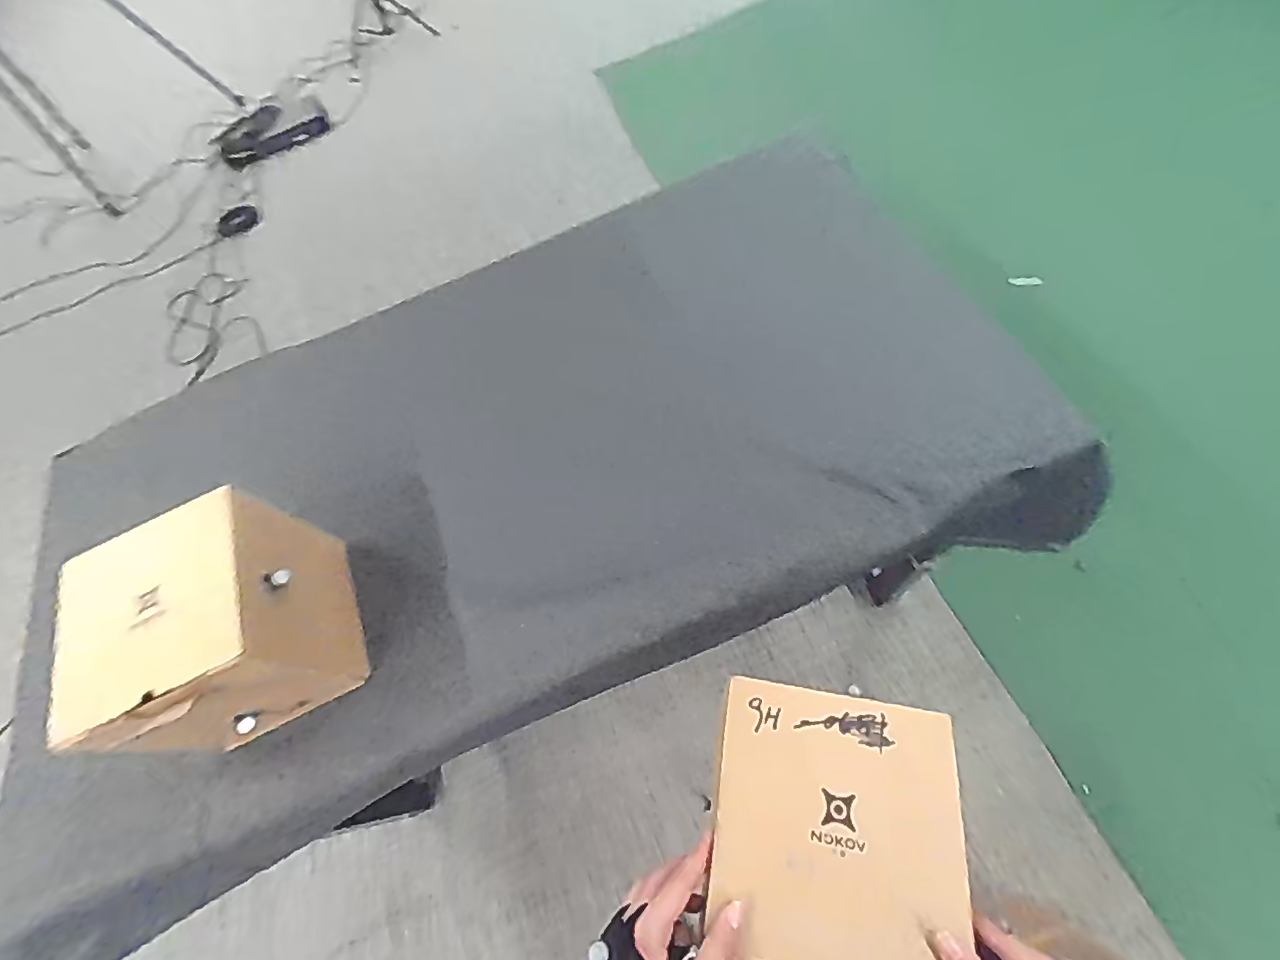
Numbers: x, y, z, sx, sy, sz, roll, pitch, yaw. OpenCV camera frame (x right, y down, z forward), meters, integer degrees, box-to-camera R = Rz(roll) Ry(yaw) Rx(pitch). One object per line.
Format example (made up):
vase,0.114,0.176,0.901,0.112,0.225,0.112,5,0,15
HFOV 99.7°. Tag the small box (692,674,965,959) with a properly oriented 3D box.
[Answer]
small box,0.136,0.277,0.437,0.168,0.176,0.179,8,60,9

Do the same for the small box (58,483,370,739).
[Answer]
small box,-0.402,0.138,0.538,0.168,0.176,0.179,-26,63,-3
